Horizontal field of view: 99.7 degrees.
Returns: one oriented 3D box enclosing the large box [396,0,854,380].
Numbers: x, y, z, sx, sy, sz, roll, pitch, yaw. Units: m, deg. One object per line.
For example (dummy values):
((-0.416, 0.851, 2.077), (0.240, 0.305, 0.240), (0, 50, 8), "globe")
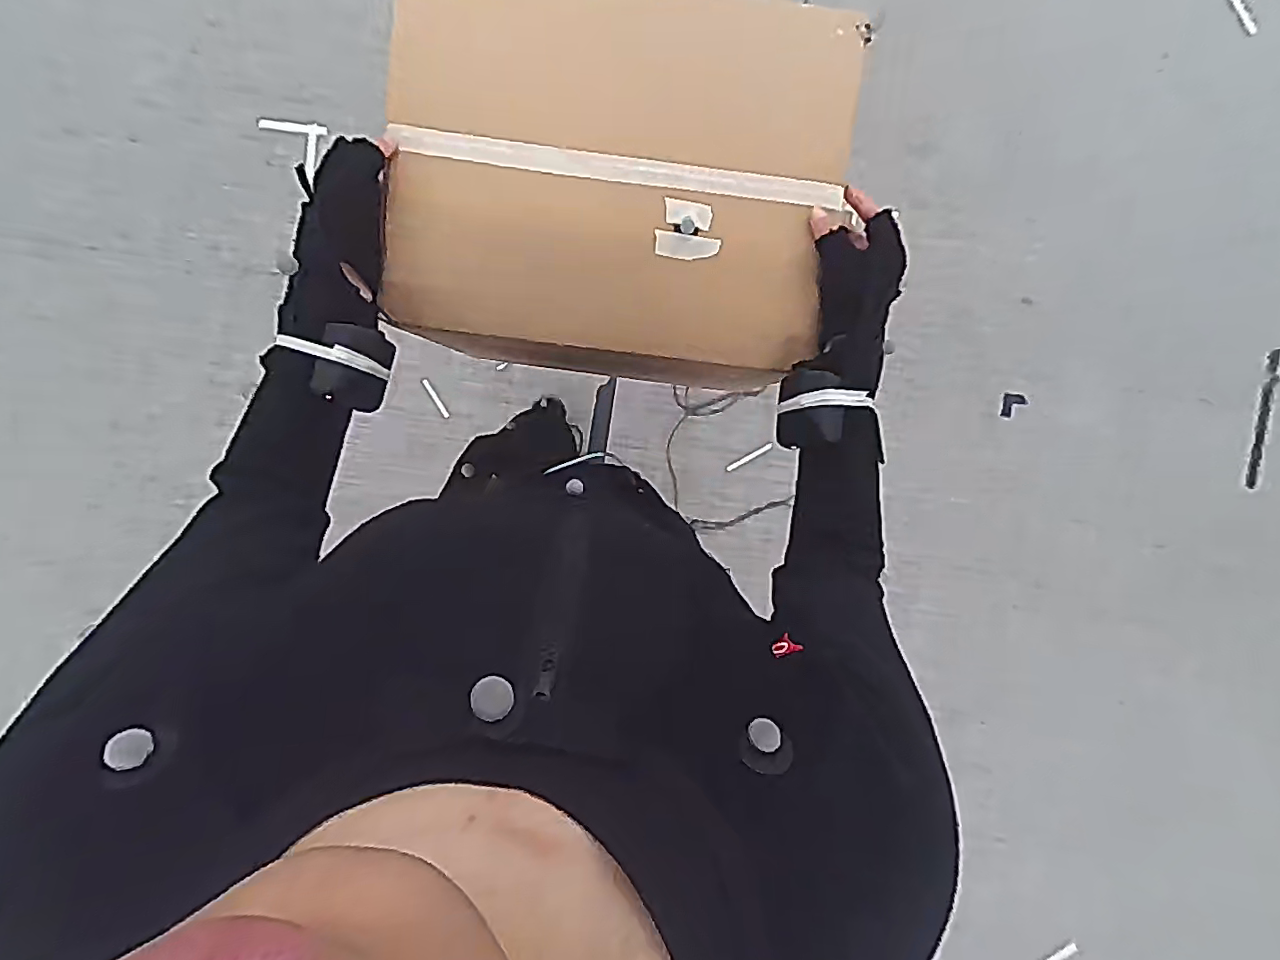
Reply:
((-0.024, -0.302, 0.644), (0.408, 0.320, 0.320), (6, 97, -3), "large box")
